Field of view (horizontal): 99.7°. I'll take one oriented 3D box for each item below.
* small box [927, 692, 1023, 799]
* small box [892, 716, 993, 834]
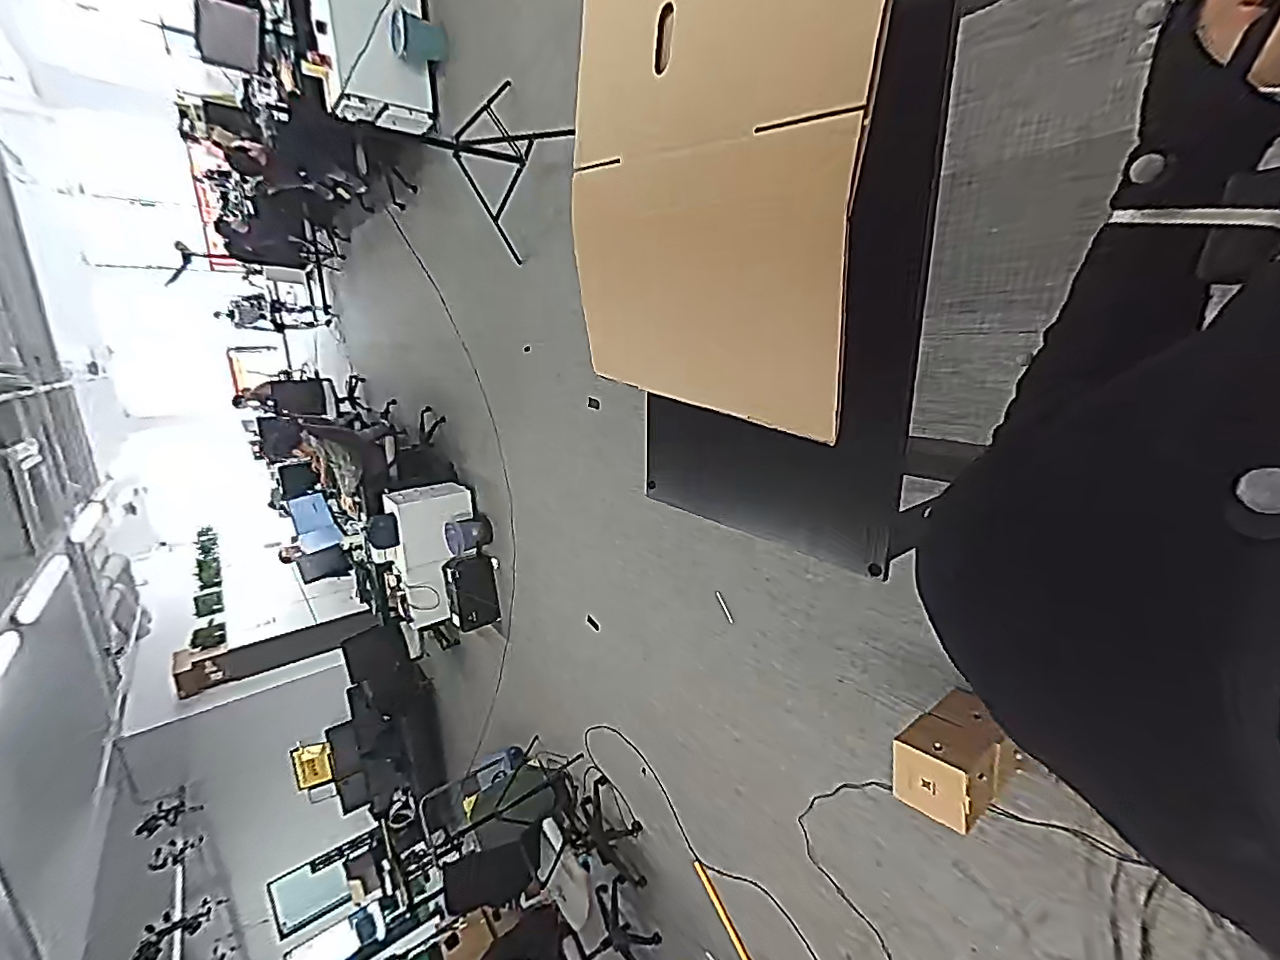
[{"bbox_3d":[0.890,0.697,1.448,0.179,0.176,0.168,13,110,50],"label":"small box"},{"bbox_3d":[0.759,0.725,1.356,0.179,0.176,0.168,8,105,53],"label":"small box"}]
